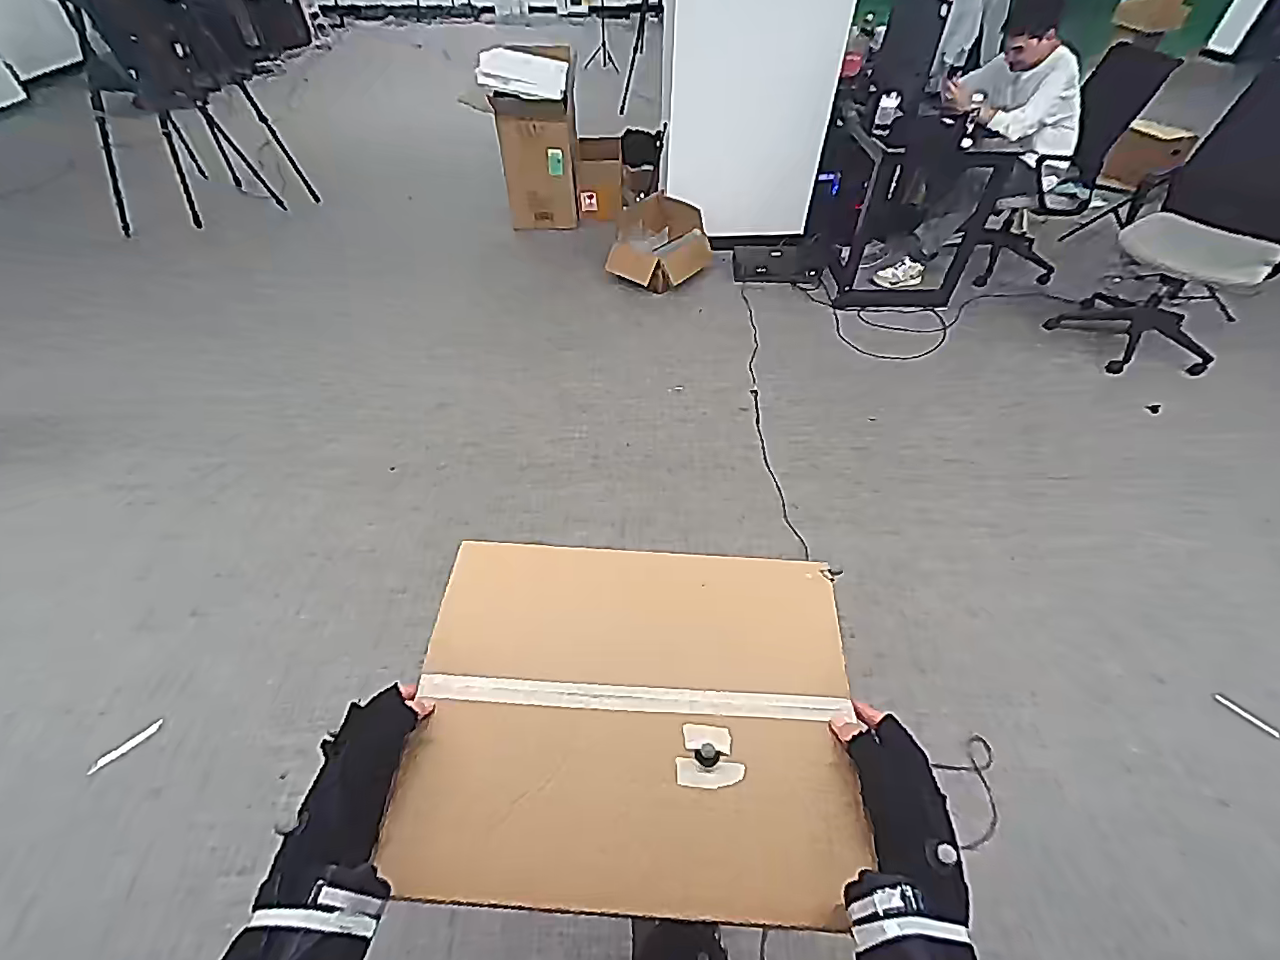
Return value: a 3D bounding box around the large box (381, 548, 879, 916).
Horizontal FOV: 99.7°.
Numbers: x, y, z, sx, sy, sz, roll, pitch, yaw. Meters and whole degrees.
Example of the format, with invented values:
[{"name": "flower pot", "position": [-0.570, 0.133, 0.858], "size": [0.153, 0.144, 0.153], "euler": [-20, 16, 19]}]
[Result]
[{"name": "large box", "position": [-0.007, 0.298, 0.631], "size": [0.408, 0.320, 0.320], "euler": [4, 53, 1]}]
